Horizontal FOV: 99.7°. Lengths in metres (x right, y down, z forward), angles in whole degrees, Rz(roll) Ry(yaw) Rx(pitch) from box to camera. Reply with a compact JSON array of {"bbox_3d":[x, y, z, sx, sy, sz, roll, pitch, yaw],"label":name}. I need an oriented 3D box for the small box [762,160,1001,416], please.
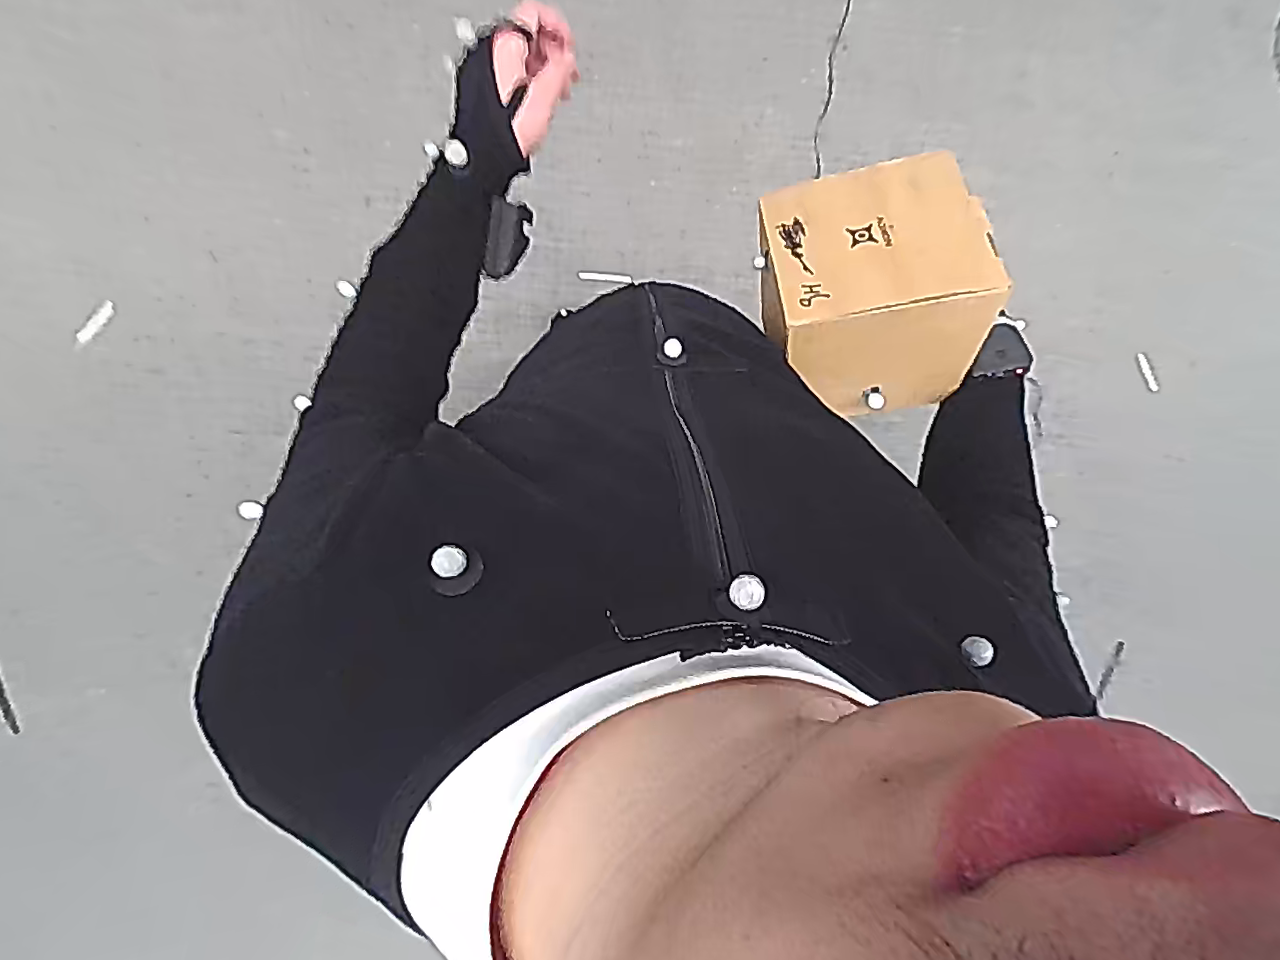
[{"bbox_3d":[0.226,-0.185,0.561,0.179,0.176,0.168,-8,64,9],"label":"small box"}]
